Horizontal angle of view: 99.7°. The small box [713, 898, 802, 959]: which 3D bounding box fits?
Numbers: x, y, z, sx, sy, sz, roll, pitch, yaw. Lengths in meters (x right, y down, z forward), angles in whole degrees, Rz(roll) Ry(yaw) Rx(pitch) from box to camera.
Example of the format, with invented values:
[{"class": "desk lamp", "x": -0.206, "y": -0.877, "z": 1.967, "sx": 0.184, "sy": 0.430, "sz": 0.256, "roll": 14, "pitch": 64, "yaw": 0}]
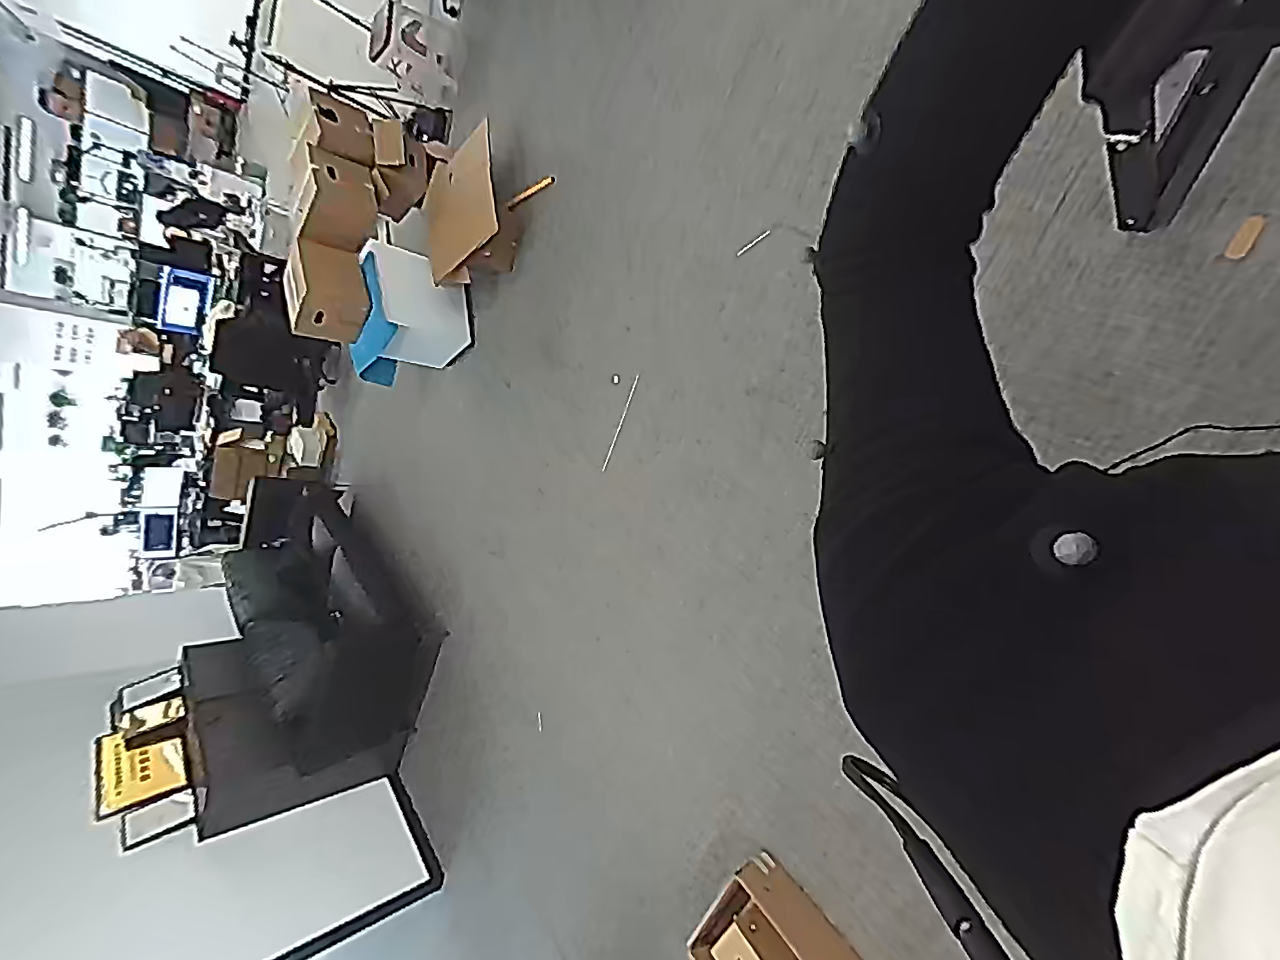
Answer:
[{"class": "small box", "x": 0.371, "y": 1.470, "z": 1.703, "sx": 0.179, "sy": 0.176, "sz": 0.168, "roll": 42, "pitch": 116, "yaw": 37}]
